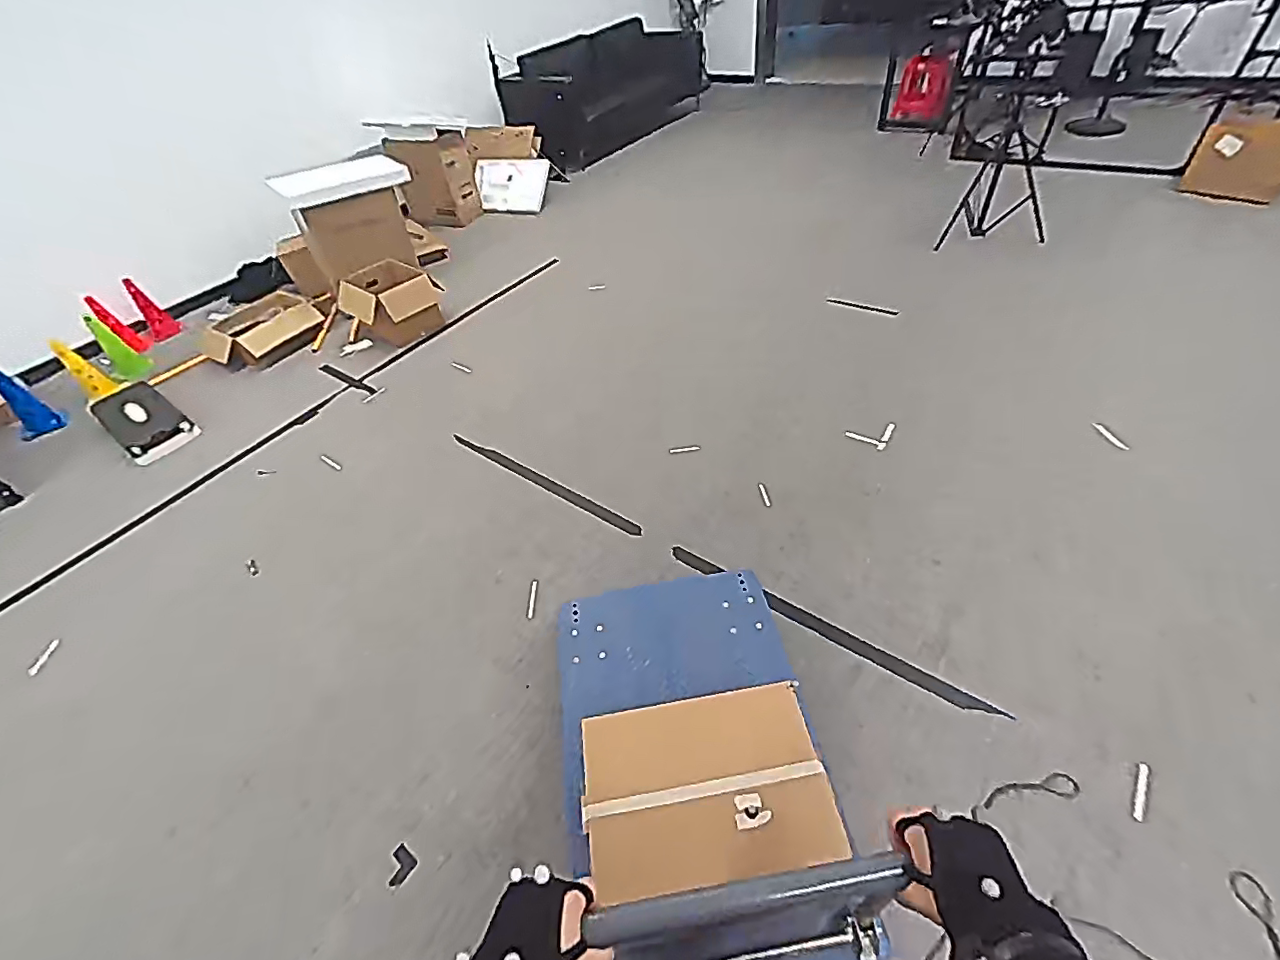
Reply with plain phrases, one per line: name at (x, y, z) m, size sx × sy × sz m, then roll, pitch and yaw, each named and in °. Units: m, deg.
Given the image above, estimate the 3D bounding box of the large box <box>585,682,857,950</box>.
large box at (0.126, 0.631, 1.019) m, size 0.408 × 0.320 × 0.320 m, roll -10°, pitch 45°, yaw -3°
